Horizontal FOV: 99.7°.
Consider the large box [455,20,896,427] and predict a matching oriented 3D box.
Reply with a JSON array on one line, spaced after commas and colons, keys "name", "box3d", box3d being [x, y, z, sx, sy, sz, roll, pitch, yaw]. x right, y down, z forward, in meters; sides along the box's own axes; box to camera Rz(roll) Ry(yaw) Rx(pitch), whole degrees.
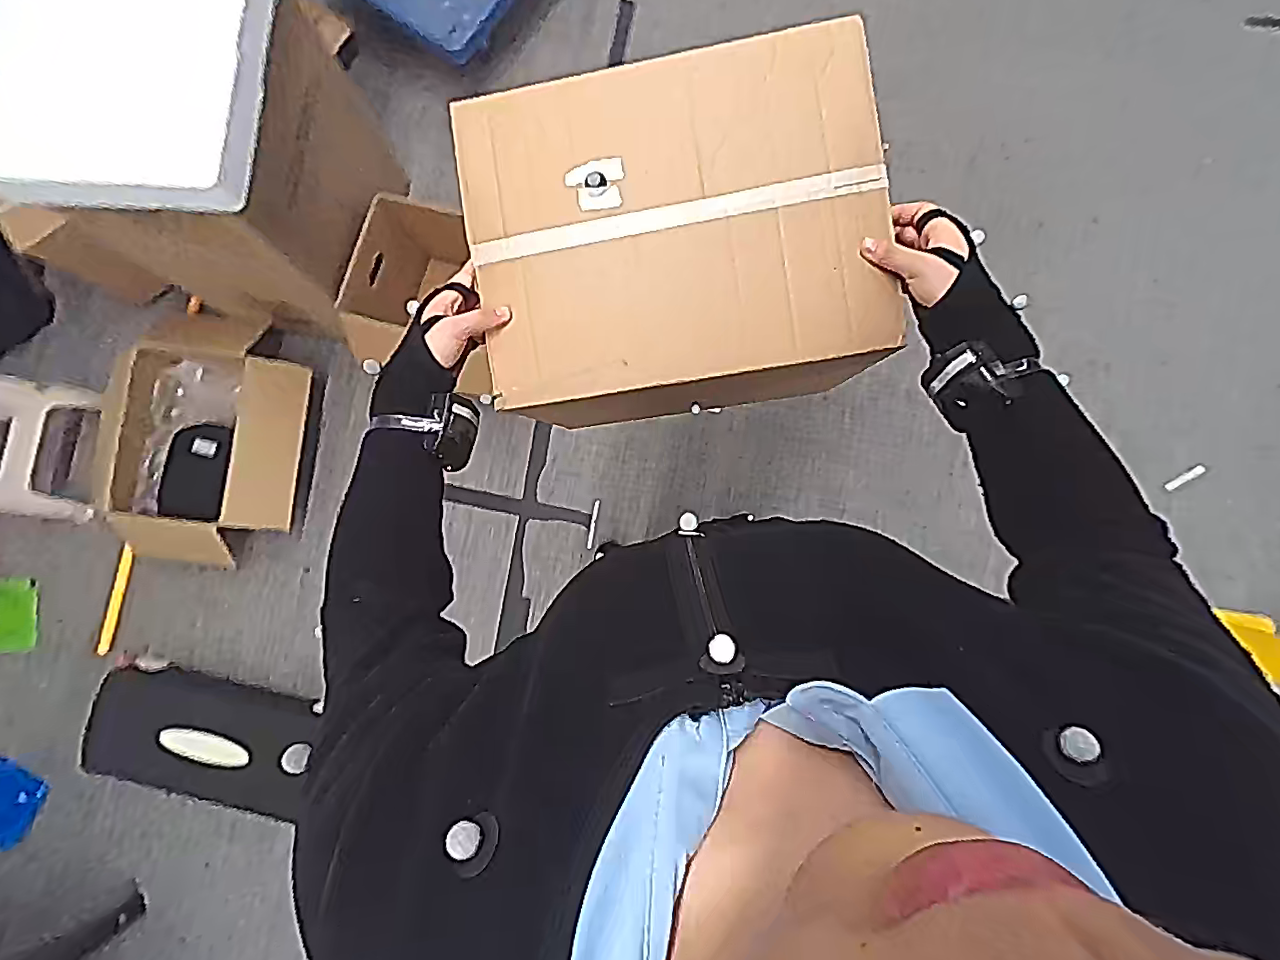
[{"name": "large box", "box3d": [0.045, -0.258, 0.683, 0.408, 0.320, 0.320, -9, 90, 7]}]
